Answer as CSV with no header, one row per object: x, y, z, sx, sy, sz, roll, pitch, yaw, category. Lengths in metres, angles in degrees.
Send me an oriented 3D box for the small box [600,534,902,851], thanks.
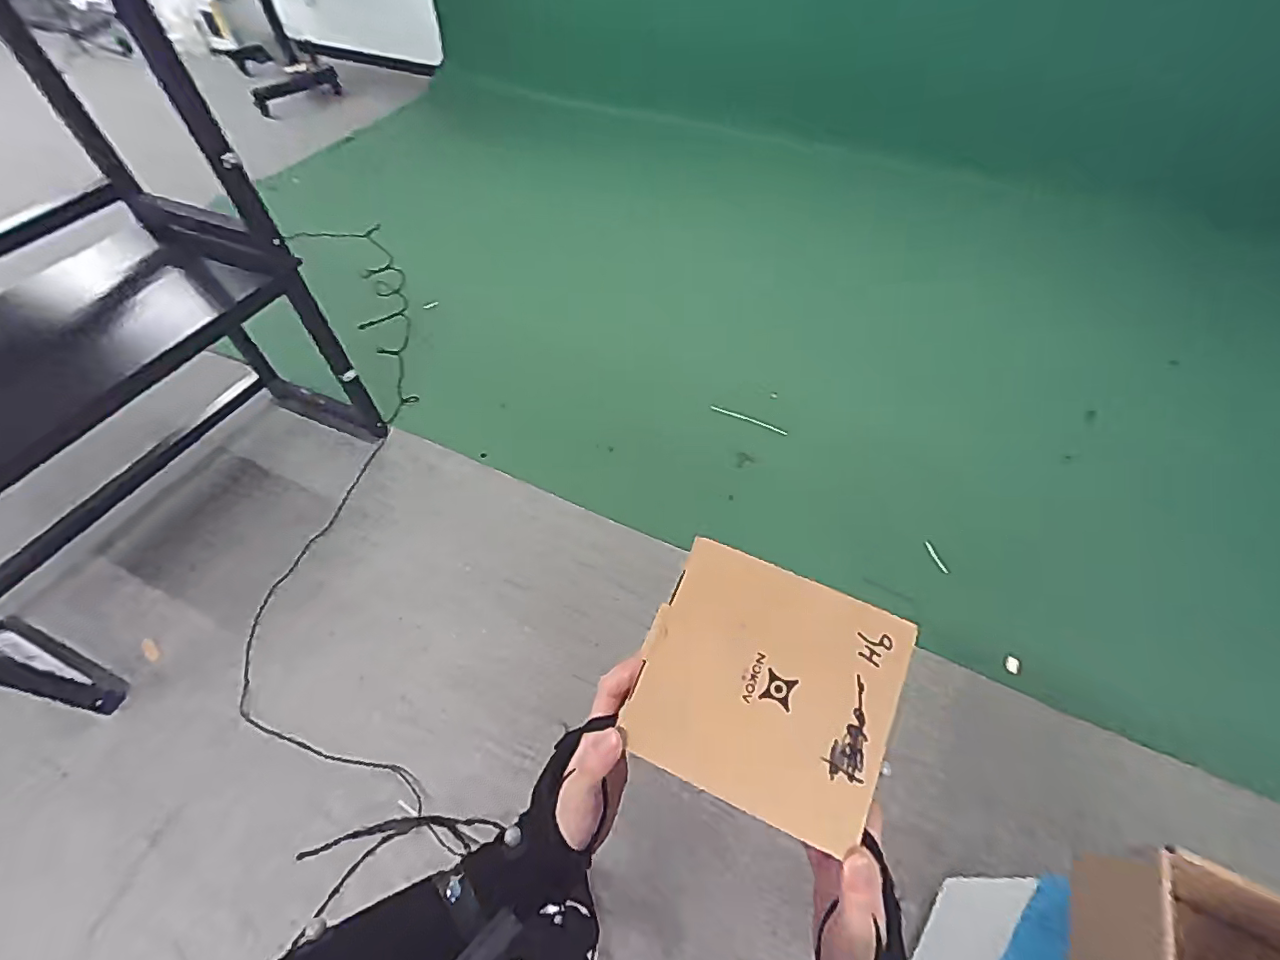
0.088,0.172,0.464,0.179,0.176,0.168,22,72,13,small box
